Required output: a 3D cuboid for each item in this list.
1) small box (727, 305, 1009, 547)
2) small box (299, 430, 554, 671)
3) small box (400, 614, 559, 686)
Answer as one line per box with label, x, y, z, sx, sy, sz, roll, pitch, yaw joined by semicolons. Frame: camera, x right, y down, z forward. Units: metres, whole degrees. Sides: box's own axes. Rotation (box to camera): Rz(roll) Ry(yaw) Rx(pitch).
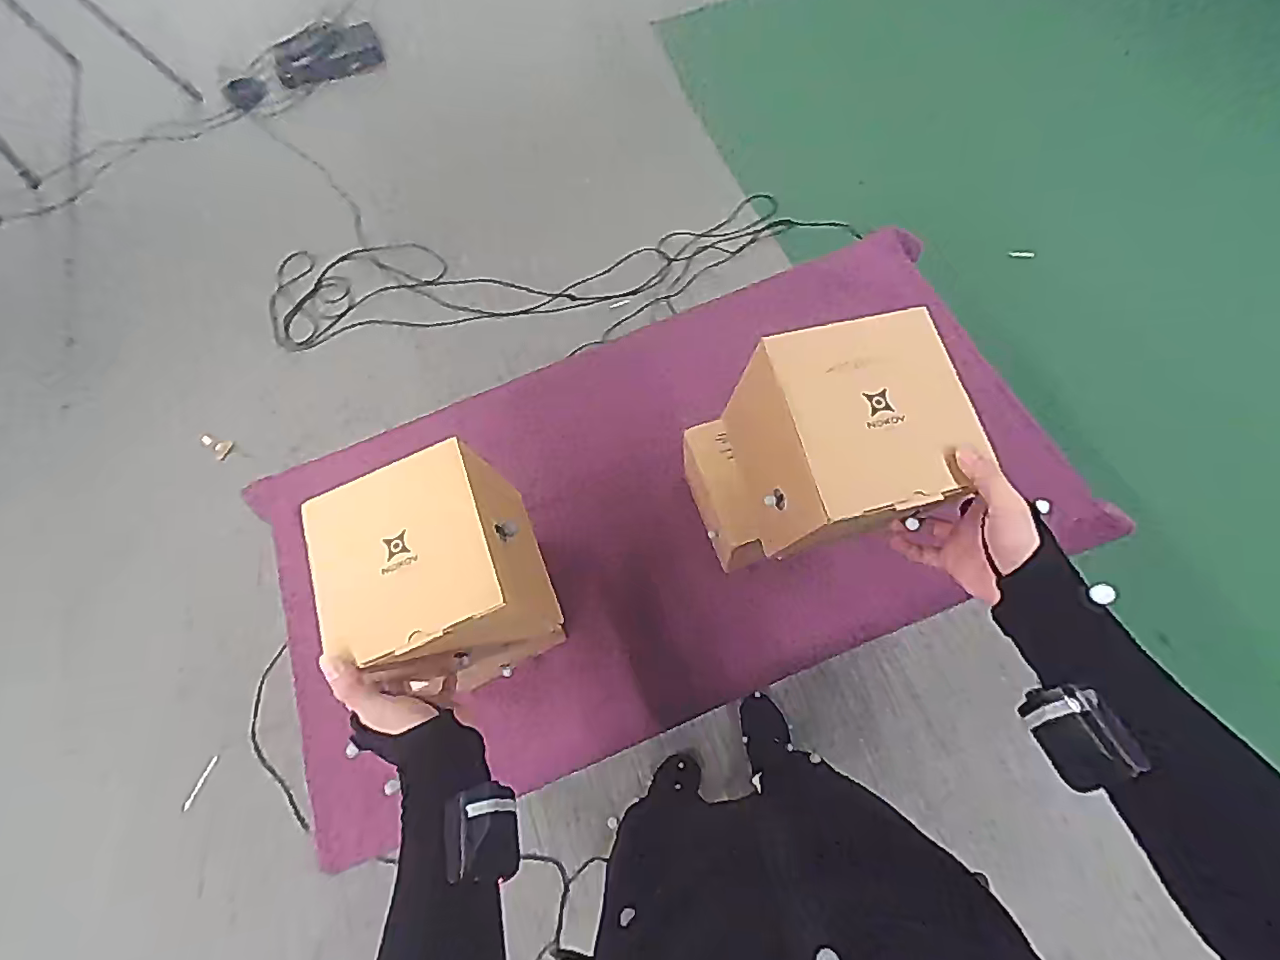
small box;0.199;-0.039;0.528;0.168;0.176;0.179;-11;73;-8
small box;-0.206;0.082;0.552;0.168;0.176;0.179;-23;69;0
small box;-0.229;0.167;0.743;0.168;0.176;0.179;-26;69;-4
